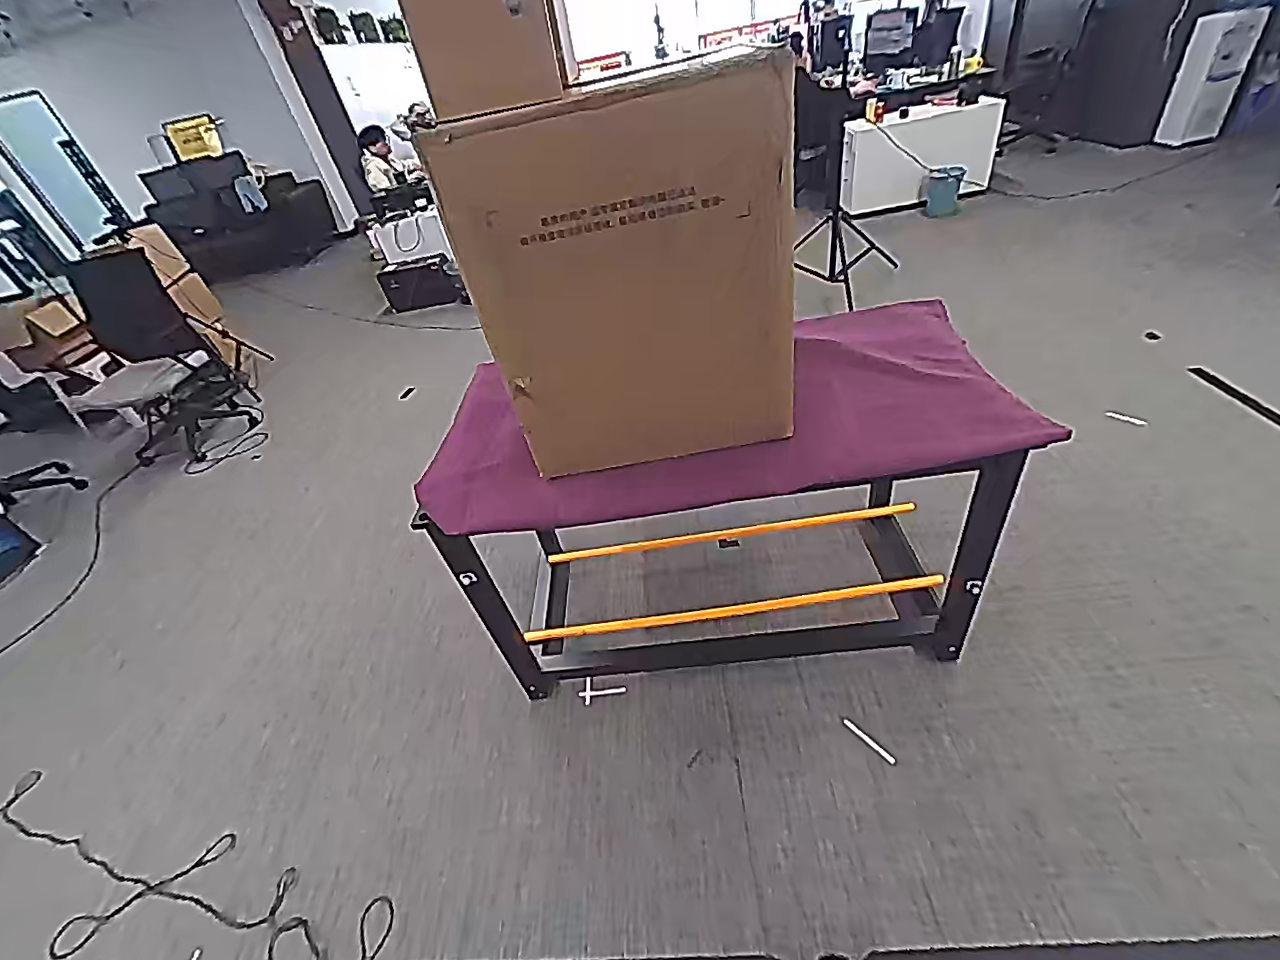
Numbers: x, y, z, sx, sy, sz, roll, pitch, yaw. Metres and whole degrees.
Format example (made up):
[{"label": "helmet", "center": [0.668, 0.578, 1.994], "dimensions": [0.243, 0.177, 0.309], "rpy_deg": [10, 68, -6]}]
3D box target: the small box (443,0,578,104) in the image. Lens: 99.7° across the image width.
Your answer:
[{"label": "small box", "center": [-0.206, -0.746, 0.904], "dimensions": [0.168, 0.176, 0.179], "rpy_deg": [-6, 39, 6]}]
